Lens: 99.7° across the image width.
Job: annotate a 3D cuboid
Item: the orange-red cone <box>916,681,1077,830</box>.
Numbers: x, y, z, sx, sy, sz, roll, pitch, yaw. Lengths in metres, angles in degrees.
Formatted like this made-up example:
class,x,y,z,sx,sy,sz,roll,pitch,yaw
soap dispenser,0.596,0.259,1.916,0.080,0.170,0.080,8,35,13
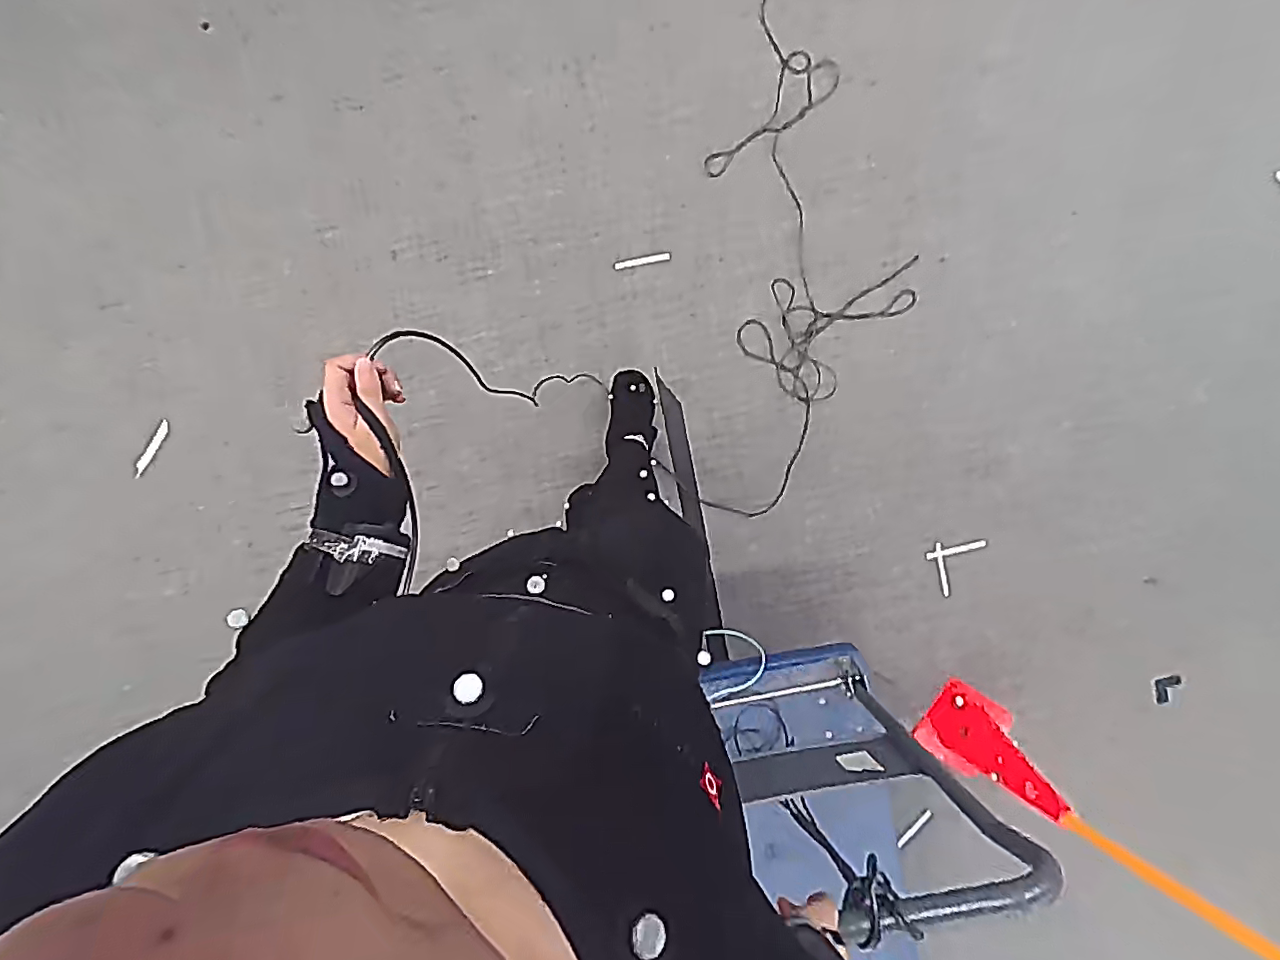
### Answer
class,x,y,z,sx,sy,sz,roll,pitch,yaw
orange-red cone,0.832,0.650,1.220,0.198,0.360,0.199,34,94,-1
